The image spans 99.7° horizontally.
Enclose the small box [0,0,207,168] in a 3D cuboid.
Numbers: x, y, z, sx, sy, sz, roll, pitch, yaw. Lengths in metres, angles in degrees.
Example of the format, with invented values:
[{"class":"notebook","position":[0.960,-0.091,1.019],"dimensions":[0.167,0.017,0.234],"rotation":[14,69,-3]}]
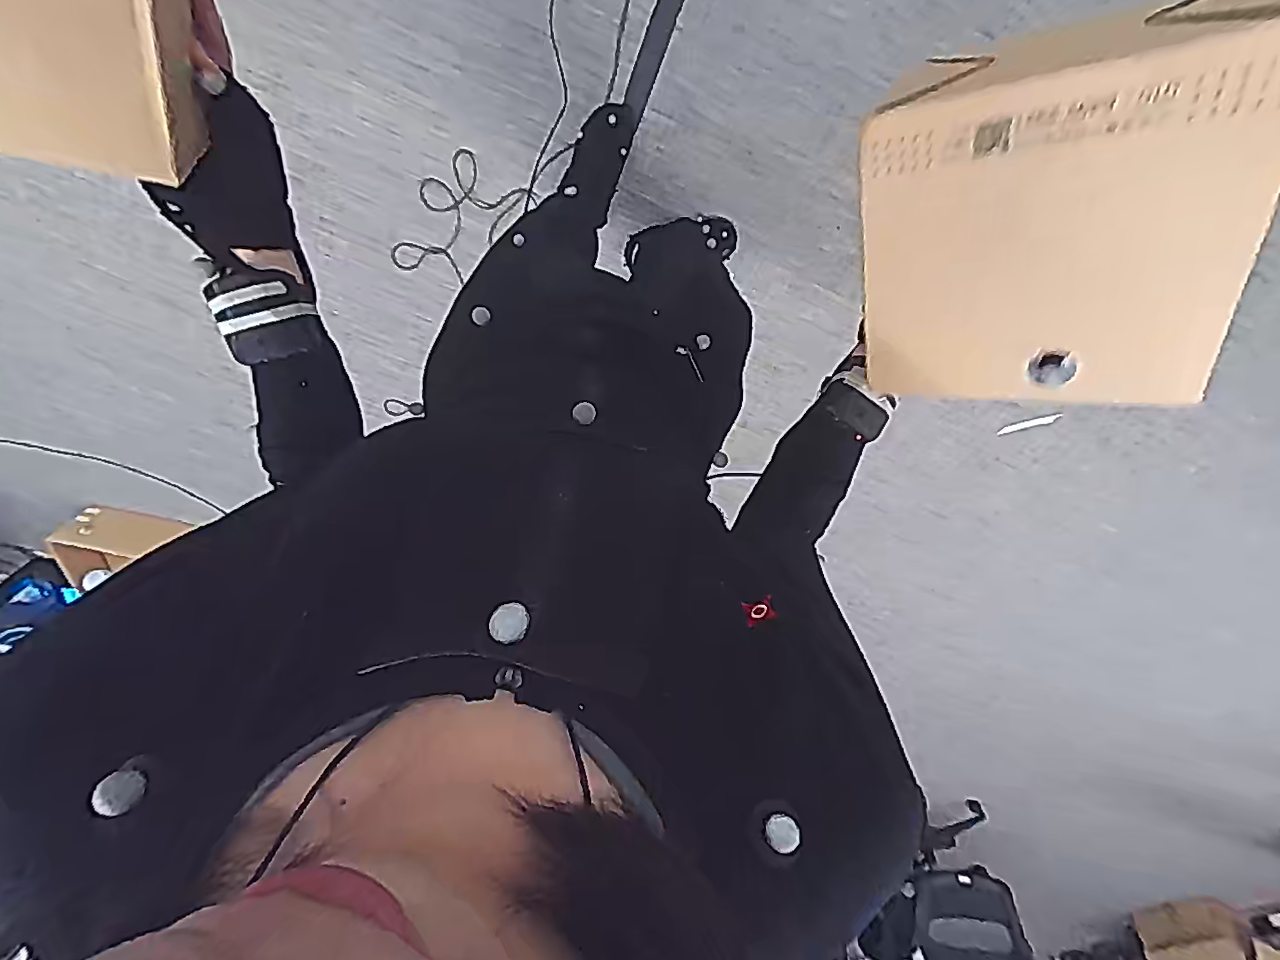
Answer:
[{"class":"small box","position":[-0.316,-0.265,0.242],"dimensions":[0.168,0.179,0.176],"rotation":[-2,124,-30]}]

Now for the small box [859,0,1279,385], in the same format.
[{"class":"small box","position":[0.238,-0.175,0.324],"dimensions":[0.168,0.179,0.176],"rotation":[8,133,34]}]
